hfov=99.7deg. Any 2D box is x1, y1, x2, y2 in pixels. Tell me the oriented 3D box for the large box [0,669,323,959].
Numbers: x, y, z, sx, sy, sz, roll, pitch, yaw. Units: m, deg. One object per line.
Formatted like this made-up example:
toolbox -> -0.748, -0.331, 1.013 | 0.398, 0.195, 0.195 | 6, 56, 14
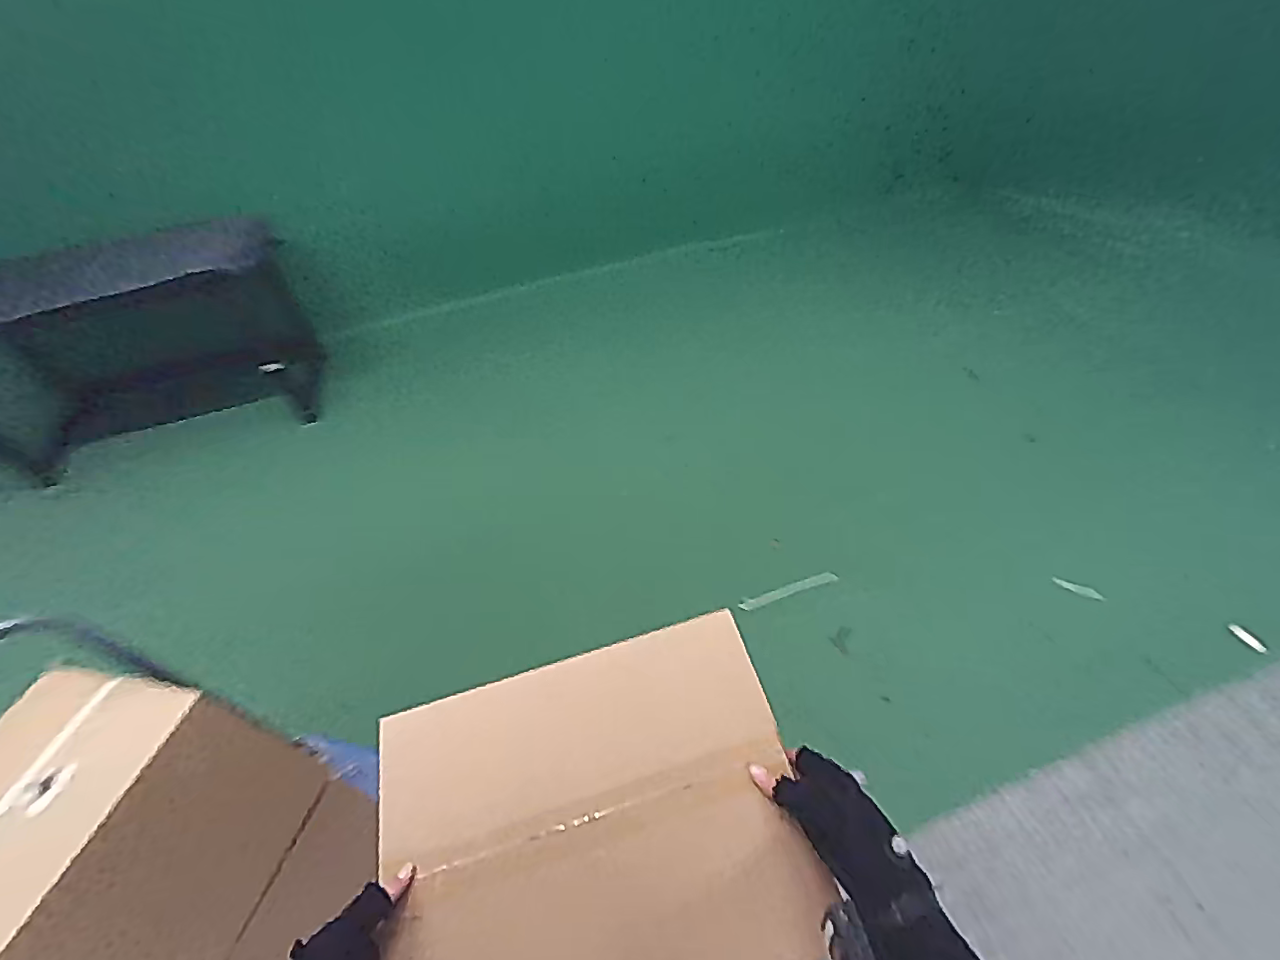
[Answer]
large box -> -0.752, 0.532, 0.741 | 0.320, 0.320, 0.408 | 1, 45, 16
